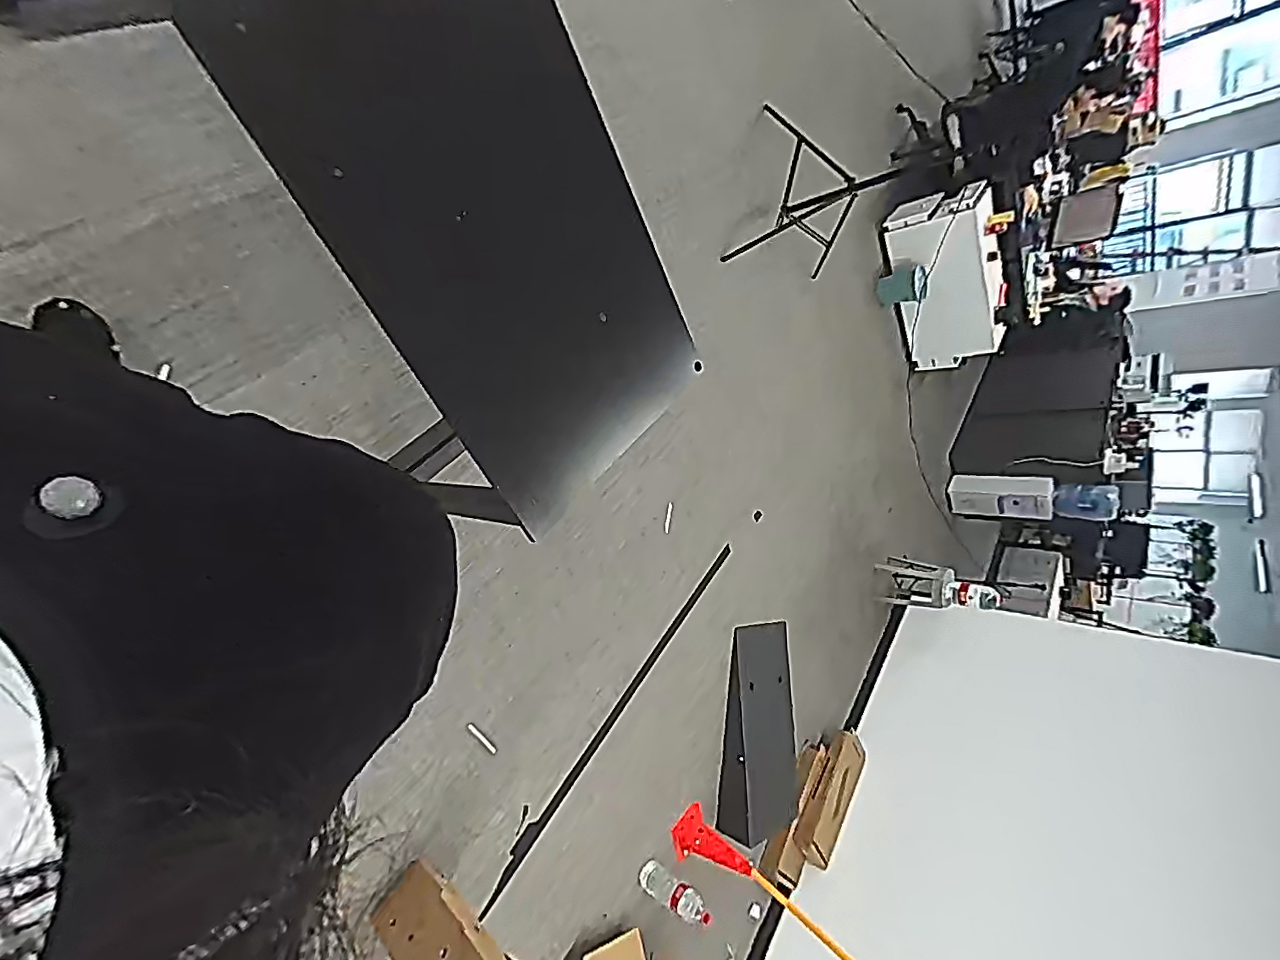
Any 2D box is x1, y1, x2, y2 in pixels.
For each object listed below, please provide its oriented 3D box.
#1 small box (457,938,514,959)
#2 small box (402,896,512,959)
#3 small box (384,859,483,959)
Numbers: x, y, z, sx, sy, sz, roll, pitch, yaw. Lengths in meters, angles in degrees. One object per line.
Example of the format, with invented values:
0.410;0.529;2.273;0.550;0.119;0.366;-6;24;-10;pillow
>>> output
-0.360;1.237;1.272;0.168;0.176;0.179;-49;123;-30;small box
-0.472;1.227;1.393;0.168;0.176;0.179;-49;124;-31;small box
-0.584;1.220;1.512;0.179;0.176;0.168;-48;124;-33;small box
